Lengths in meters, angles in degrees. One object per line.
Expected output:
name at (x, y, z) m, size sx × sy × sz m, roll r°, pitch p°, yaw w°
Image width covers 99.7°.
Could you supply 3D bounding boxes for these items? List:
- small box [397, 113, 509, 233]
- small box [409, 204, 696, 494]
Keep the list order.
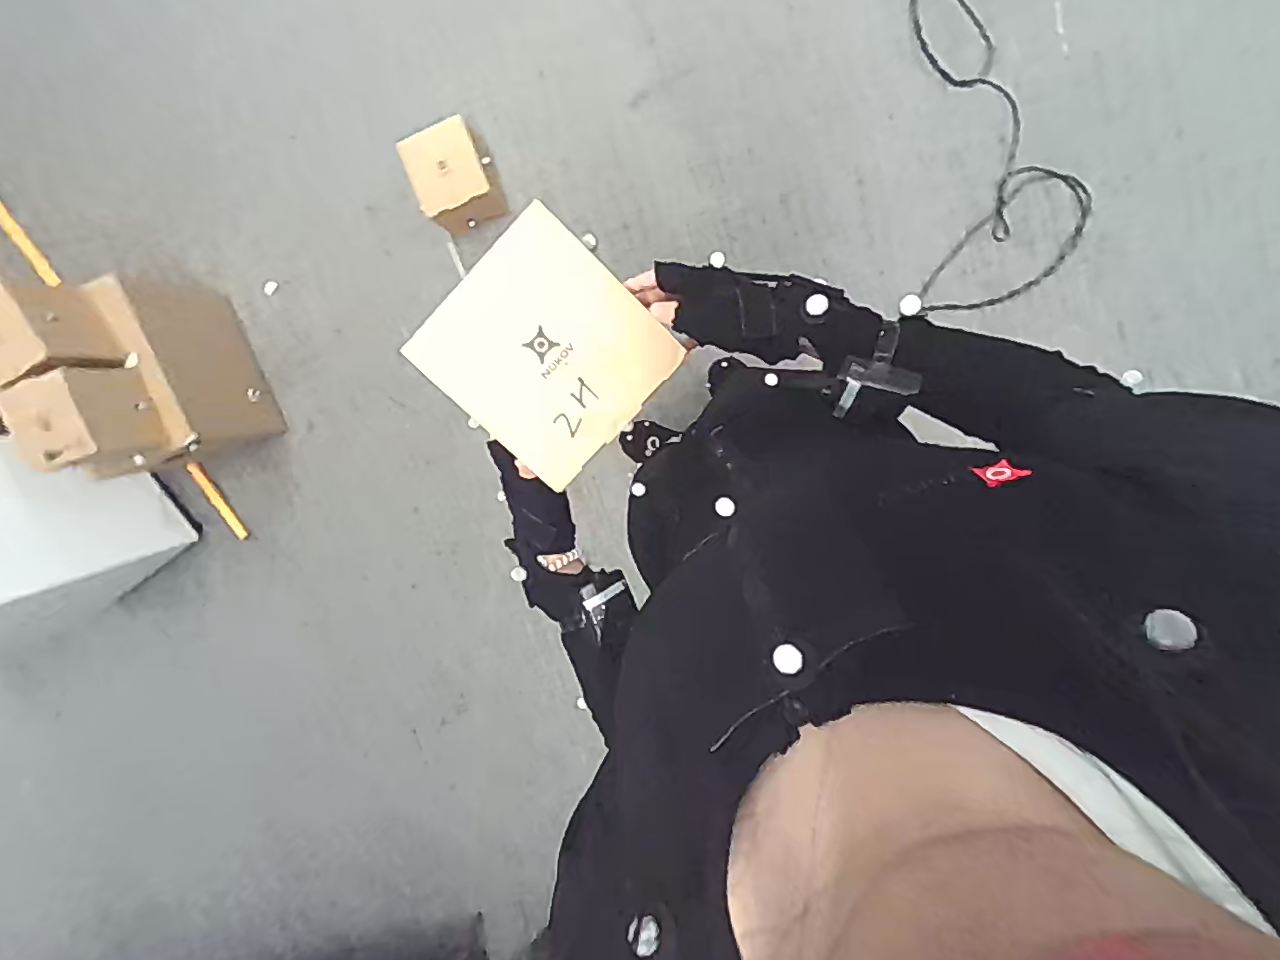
small box at (-0.441, -0.726, 1.301) m, size 0.168 × 0.176 × 0.179 m, roll -20°, pitch 100°, yaw 8°
small box at (-0.074, -0.113, 0.517) m, size 0.168 × 0.176 × 0.179 m, roll -45°, pitch 100°, yaw 5°
